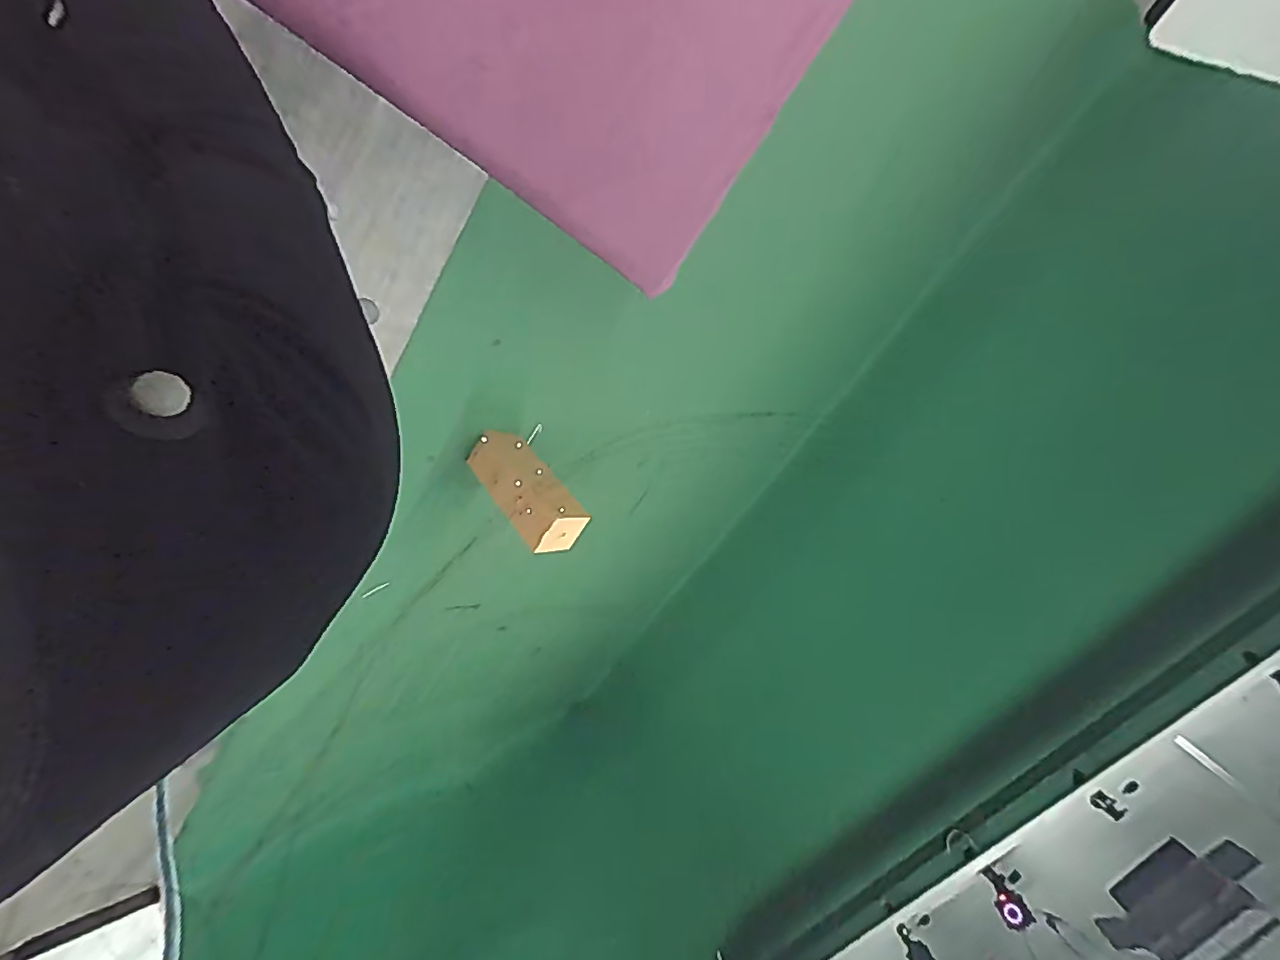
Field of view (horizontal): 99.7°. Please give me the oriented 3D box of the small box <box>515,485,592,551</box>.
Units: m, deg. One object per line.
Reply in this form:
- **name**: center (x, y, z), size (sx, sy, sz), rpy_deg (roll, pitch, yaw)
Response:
- **small box**: center (-0.311, 0.130, 1.927), size (0.179, 0.176, 0.168), rpy_deg (3, 128, -53)

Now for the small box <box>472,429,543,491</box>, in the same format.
- **small box**: center (-0.514, -0.078, 2.079), size (0.179, 0.176, 0.168), rpy_deg (7, 125, -55)
